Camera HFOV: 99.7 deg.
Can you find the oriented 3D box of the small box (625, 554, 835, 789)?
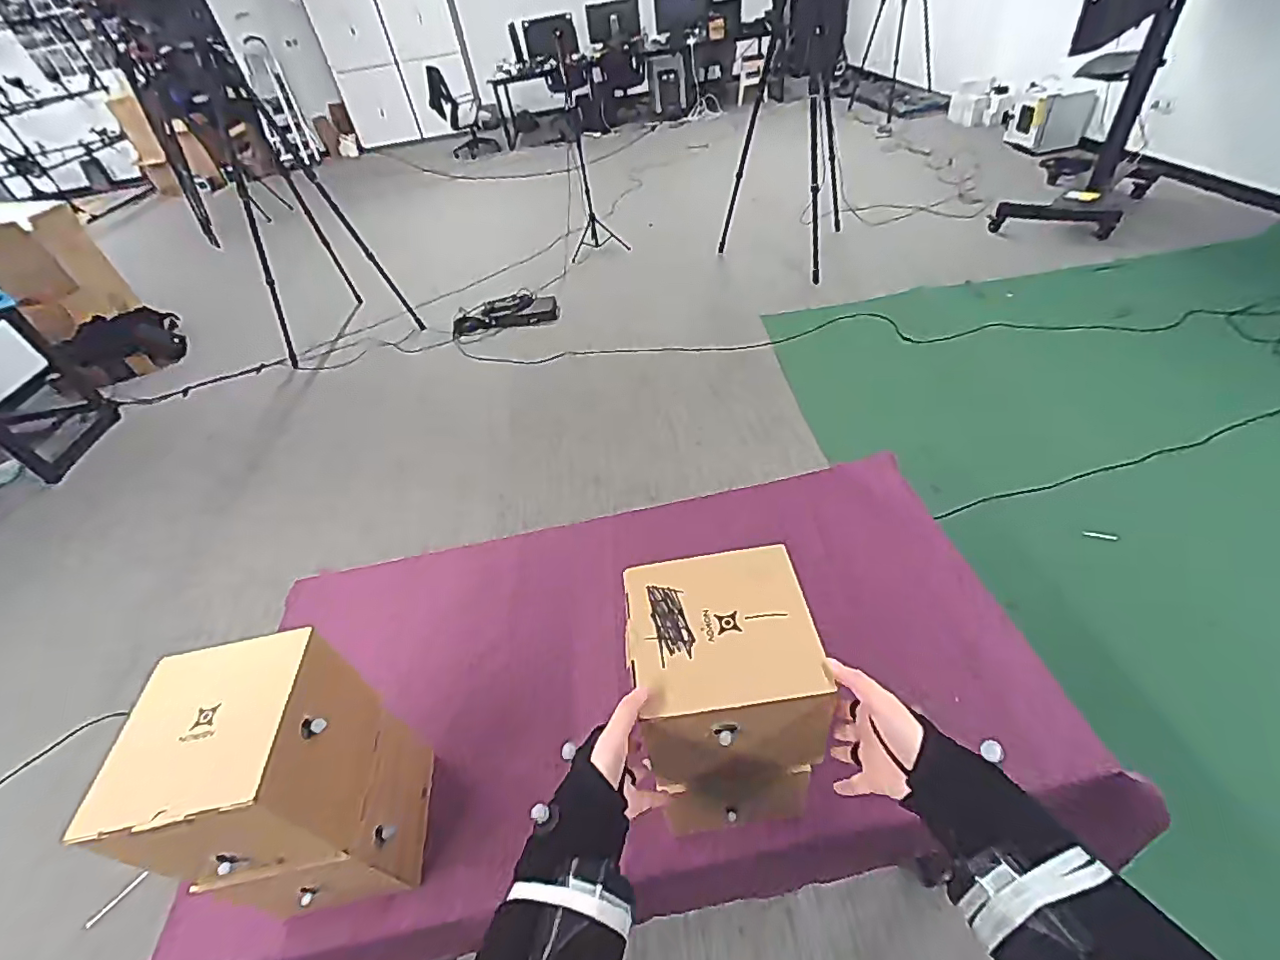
[{"bbox_3d":[0.086,0.205,0.571,0.179,0.176,0.168,-9,43,1],"label":"small box"}]

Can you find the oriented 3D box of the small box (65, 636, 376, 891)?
[{"bbox_3d":[-0.403,0.295,0.568,0.168,0.176,0.179,-11,43,-1],"label":"small box"}]
